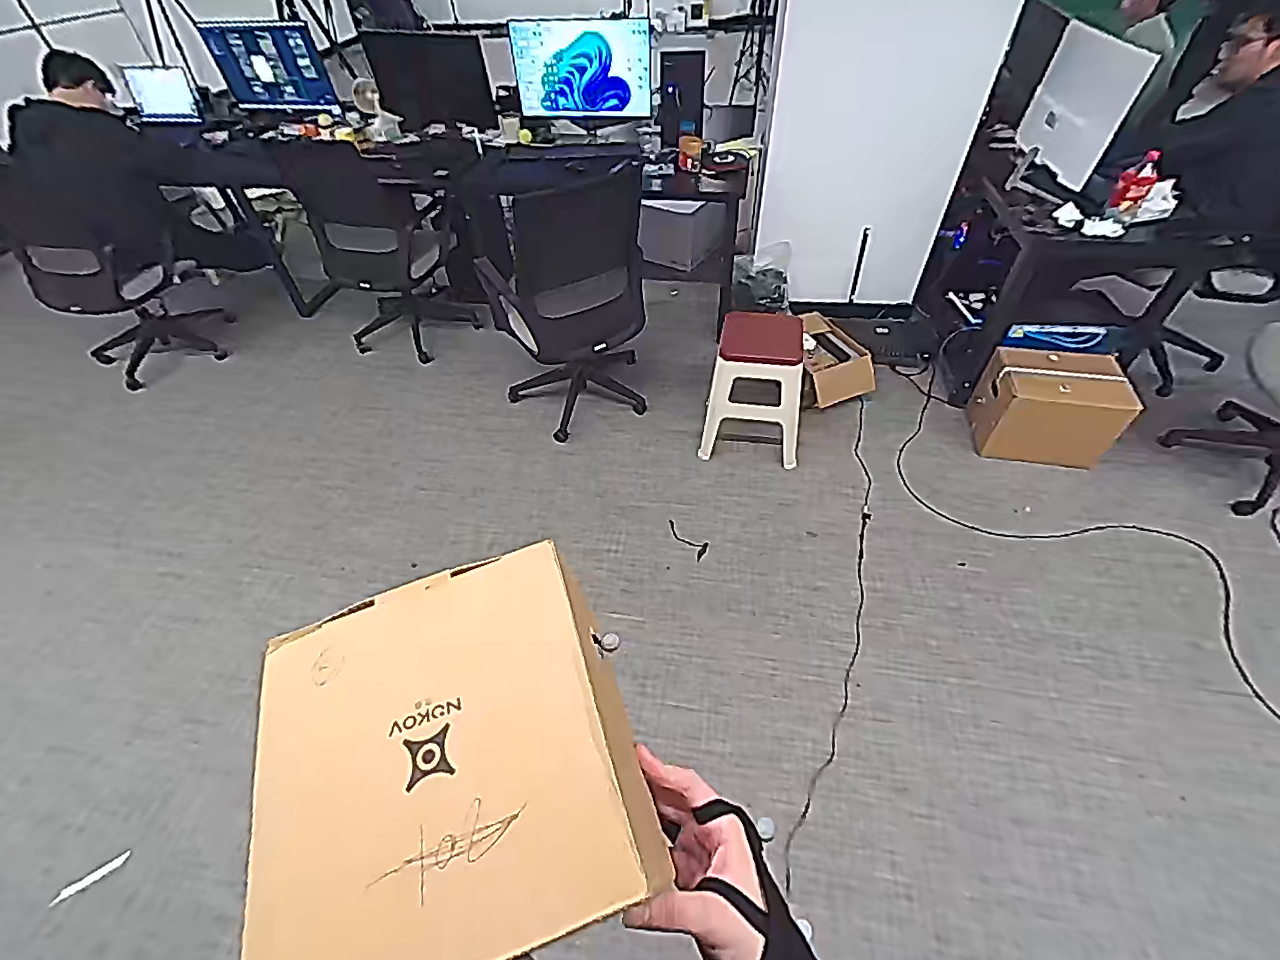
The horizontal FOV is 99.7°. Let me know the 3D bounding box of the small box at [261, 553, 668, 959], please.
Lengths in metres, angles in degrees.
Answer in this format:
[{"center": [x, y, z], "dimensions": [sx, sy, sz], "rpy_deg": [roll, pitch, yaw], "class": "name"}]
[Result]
[{"center": [-0.090, 0.178, 0.333], "dimensions": [0.168, 0.176, 0.179], "rpy_deg": [-20, 56, -5], "class": "small box"}]
